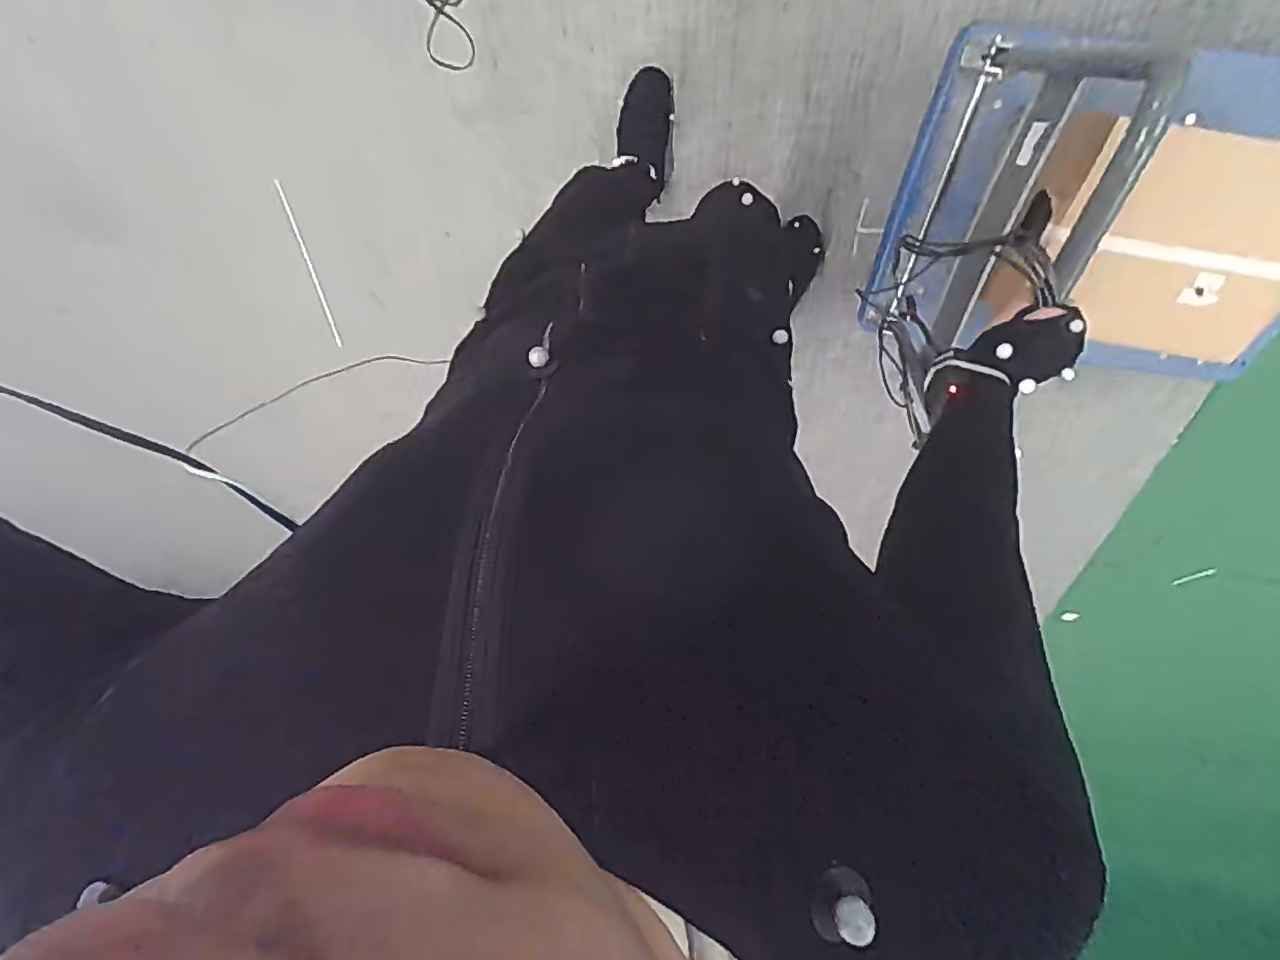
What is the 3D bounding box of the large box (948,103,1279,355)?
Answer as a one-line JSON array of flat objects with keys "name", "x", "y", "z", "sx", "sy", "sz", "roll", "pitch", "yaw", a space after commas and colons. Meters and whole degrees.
[{"name": "large box", "x": 0.860, "y": -0.457, "z": 0.967, "sx": 0.408, "sy": 0.320, "sz": 0.320, "roll": 11, "pitch": 130, "yaw": 1}]
